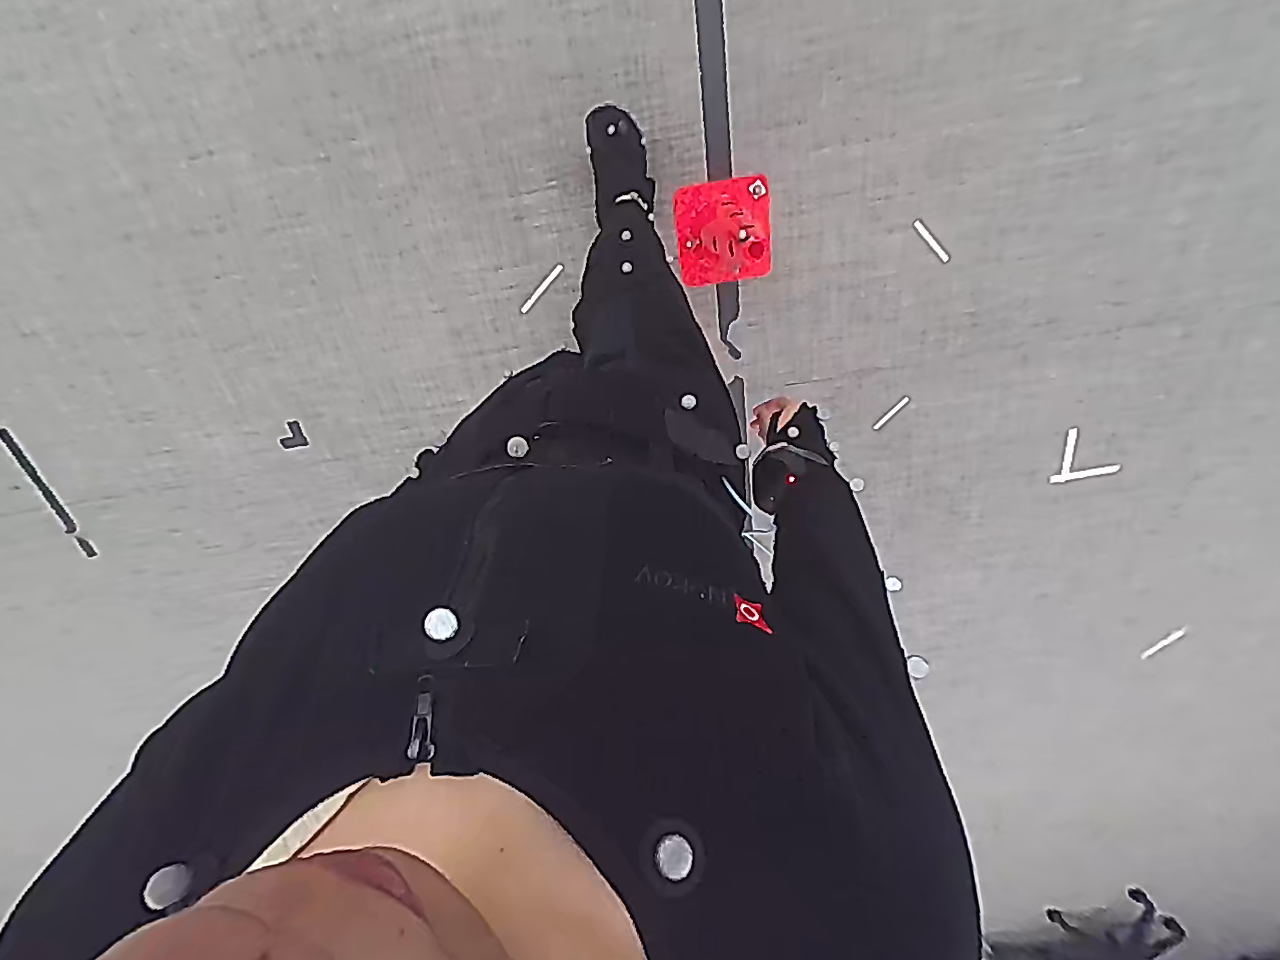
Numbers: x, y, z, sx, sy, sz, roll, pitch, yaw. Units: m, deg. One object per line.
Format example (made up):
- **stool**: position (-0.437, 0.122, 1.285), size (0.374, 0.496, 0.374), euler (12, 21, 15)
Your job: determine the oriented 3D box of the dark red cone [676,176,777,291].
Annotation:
- **dark red cone**: position (0.181, -0.432, 0.986), size (0.201, 0.394, 0.202), euler (-8, 118, 5)
